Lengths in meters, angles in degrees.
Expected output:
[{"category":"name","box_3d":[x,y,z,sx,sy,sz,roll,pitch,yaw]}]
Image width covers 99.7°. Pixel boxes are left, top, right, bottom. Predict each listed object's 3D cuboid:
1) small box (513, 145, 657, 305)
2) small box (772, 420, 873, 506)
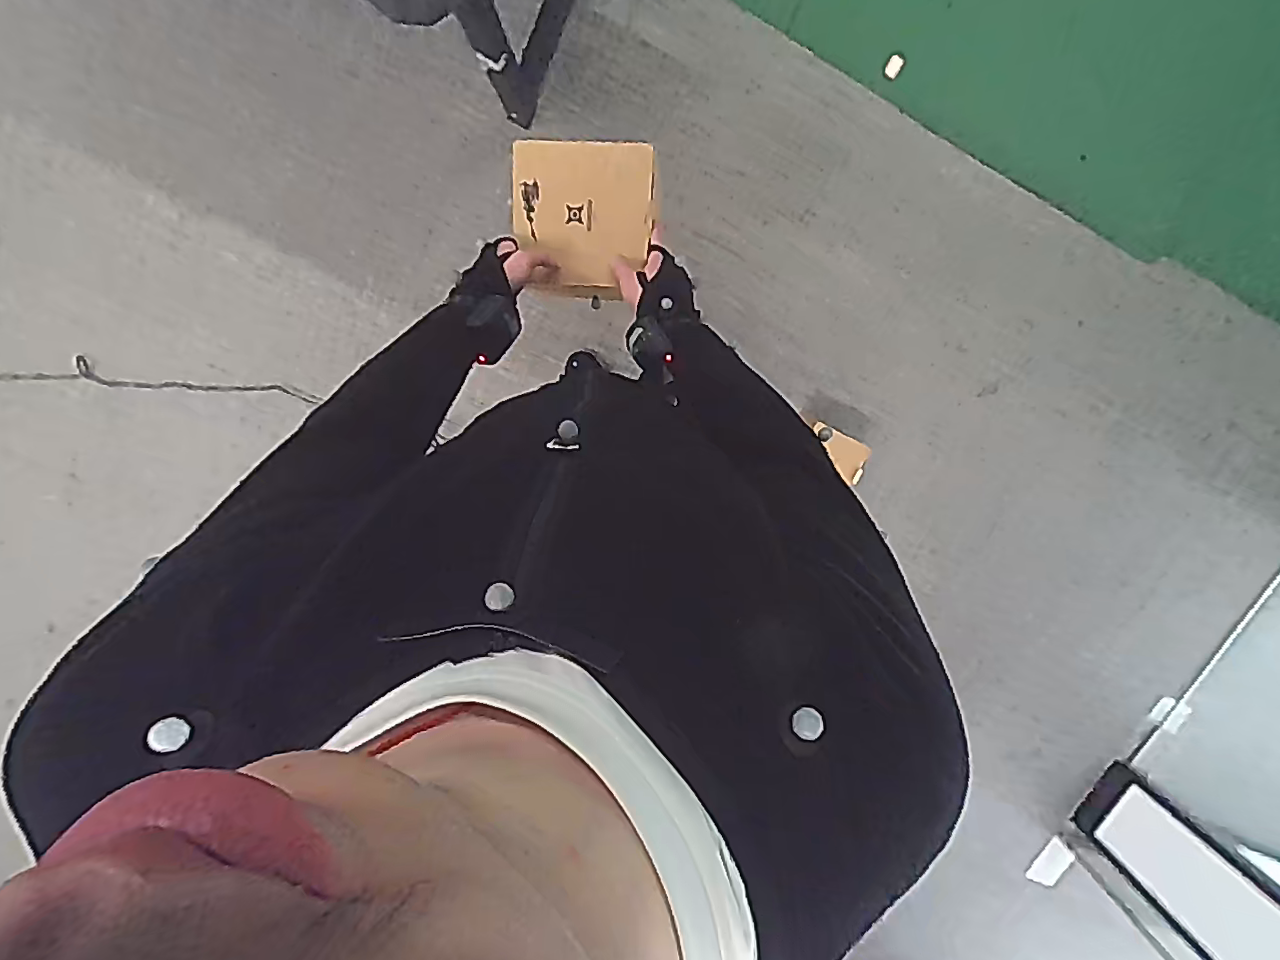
[{"category":"small box","box_3d":[-0.068,-0.338,0.747,0.179,0.176,0.168,3,102,3]},{"category":"small box","box_3d":[0.497,-0.054,1.498,0.179,0.176,0.168,28,99,-8]}]
